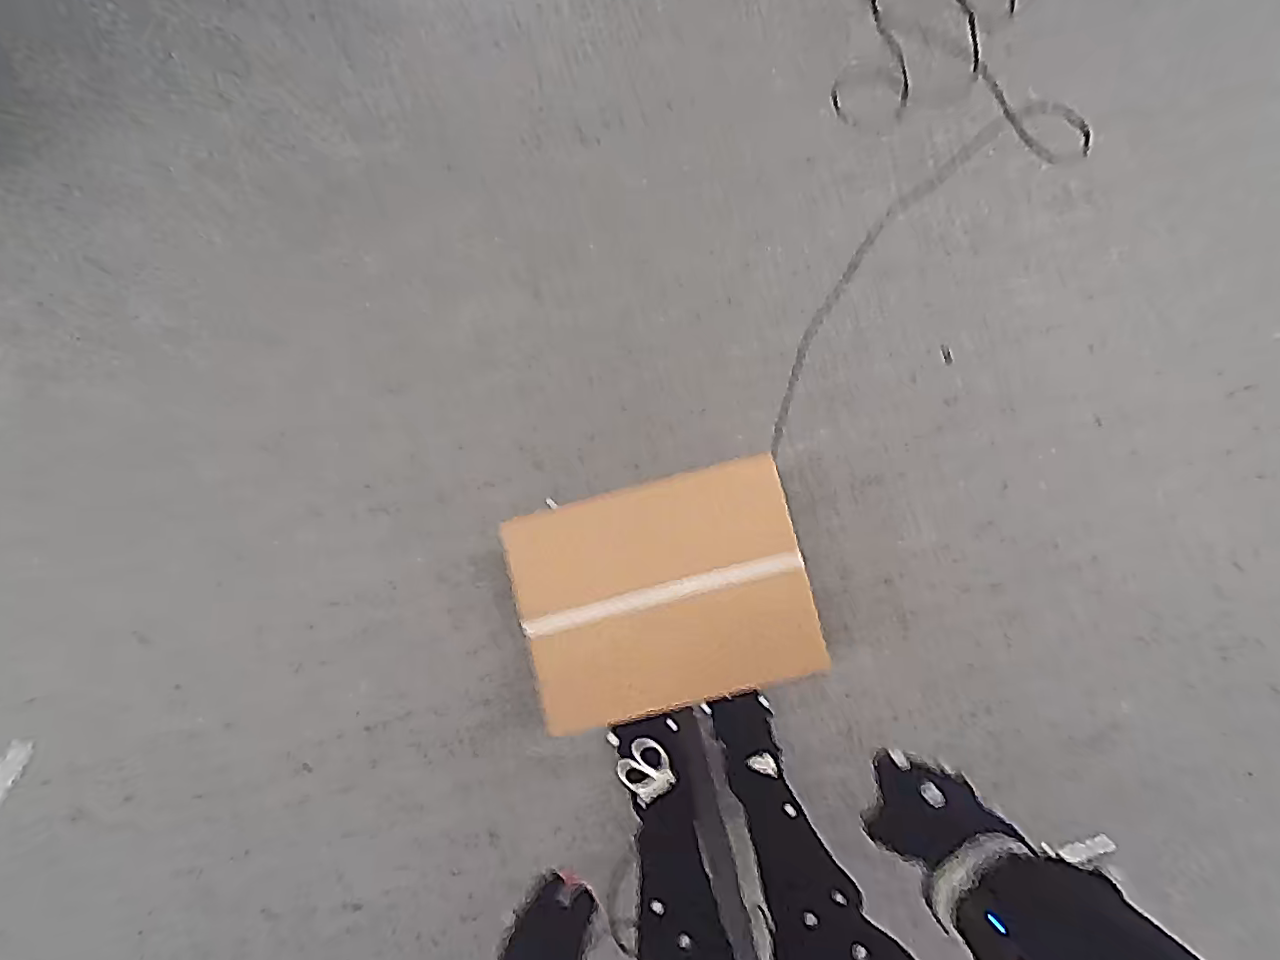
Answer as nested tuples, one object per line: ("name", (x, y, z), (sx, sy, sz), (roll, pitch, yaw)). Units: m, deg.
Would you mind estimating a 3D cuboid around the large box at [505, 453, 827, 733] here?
("large box", (0.036, 0.168, 0.914), (0.408, 0.320, 0.320), (-15, 87, 1))
